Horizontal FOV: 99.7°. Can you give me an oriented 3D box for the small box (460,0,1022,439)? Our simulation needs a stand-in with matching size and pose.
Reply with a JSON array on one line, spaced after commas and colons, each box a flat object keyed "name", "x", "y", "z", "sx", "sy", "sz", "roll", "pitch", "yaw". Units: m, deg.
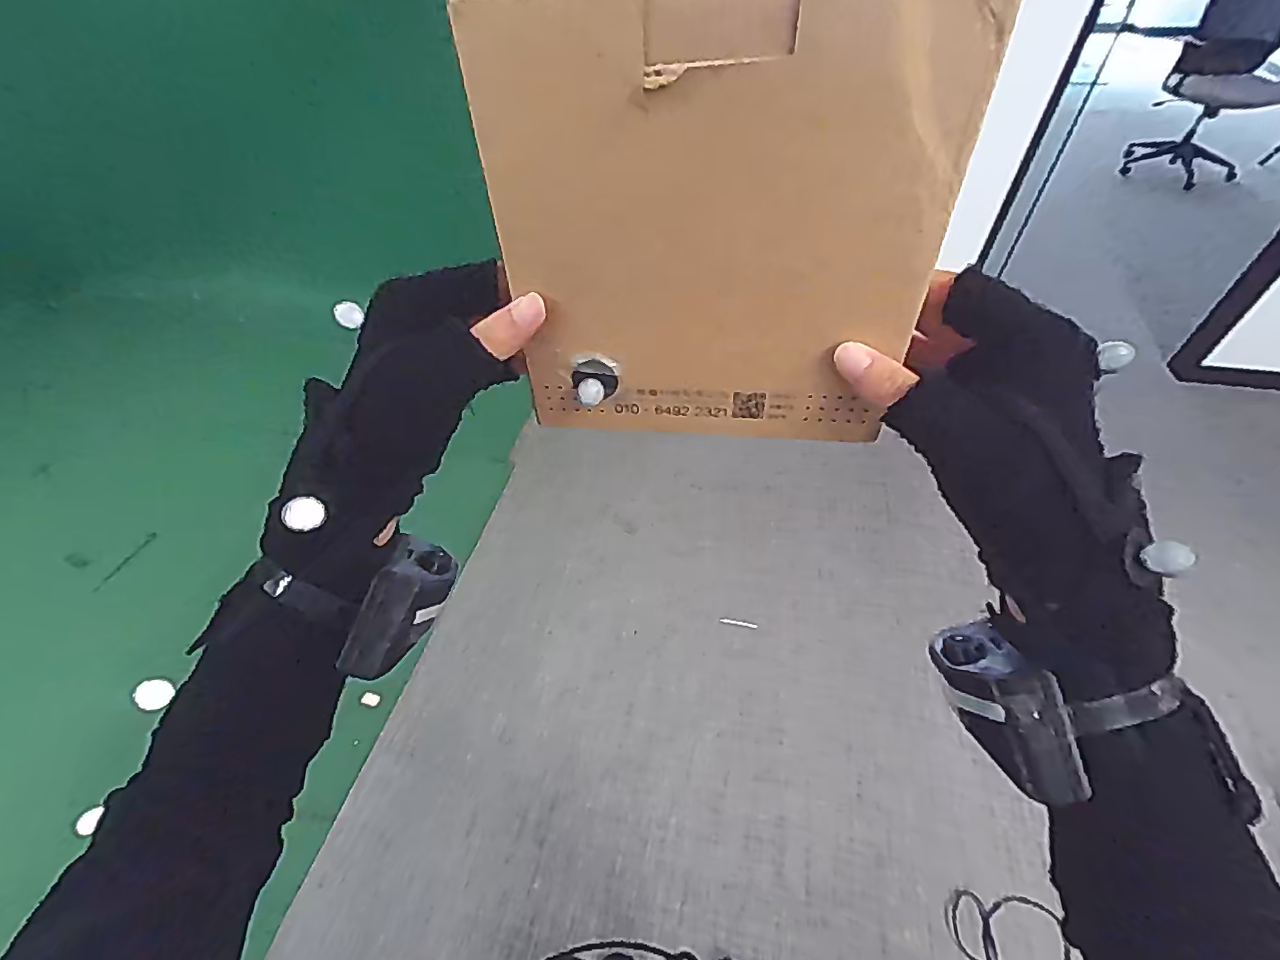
[{"name": "small box", "x": 0.041, "y": -0.135, "z": 0.265, "sx": 0.168, "sy": 0.176, "sz": 0.179, "roll": 3, "pitch": 44, "yaw": 7}]
